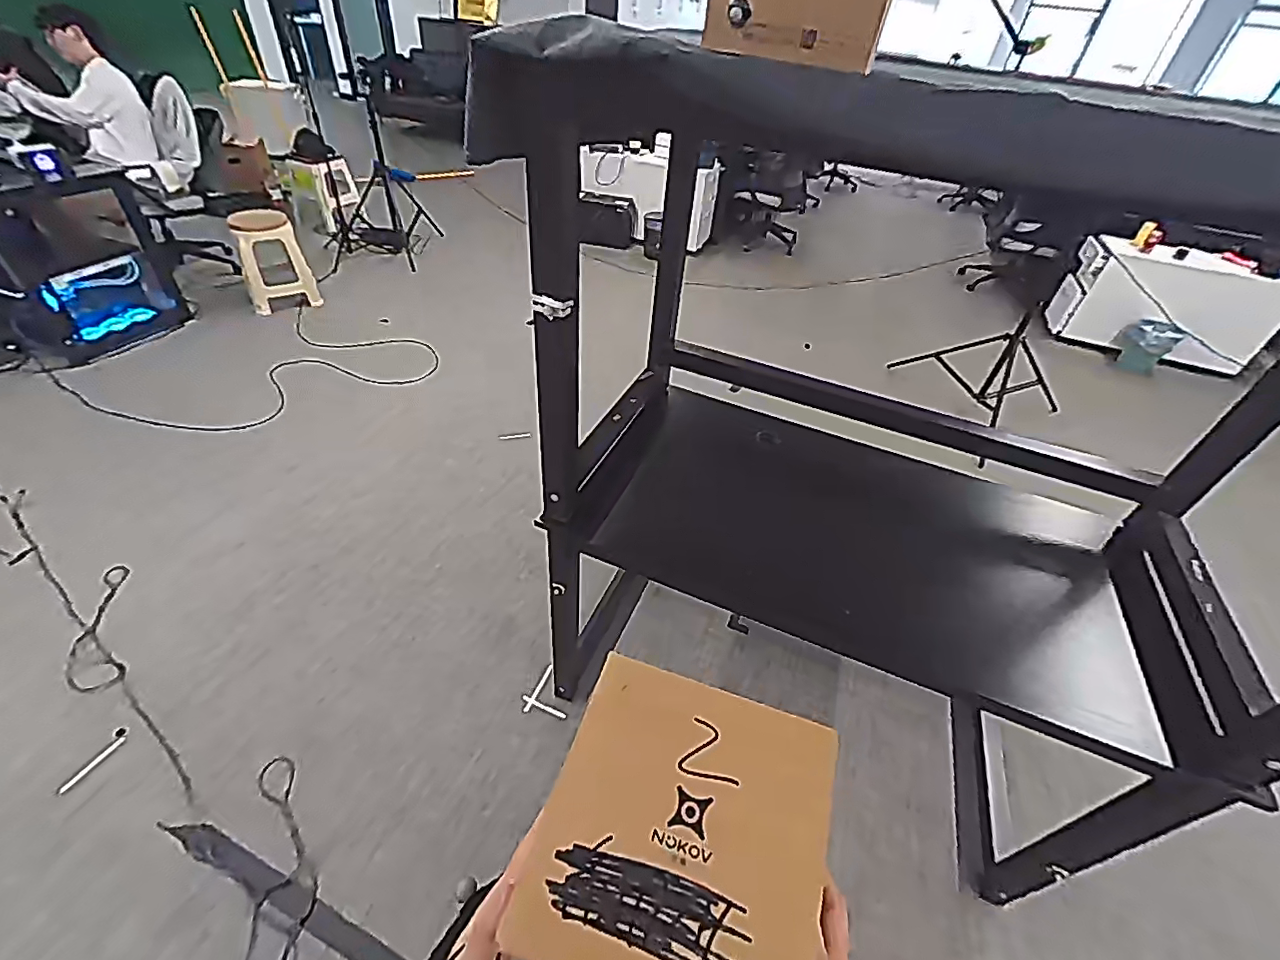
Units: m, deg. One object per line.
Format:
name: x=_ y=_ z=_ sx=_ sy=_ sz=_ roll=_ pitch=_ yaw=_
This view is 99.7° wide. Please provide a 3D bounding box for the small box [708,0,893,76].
small box: x=0.175 y=-0.516 z=0.538 sx=0.168 sy=0.176 sz=0.179 roll=18 pitch=41 yaw=11
